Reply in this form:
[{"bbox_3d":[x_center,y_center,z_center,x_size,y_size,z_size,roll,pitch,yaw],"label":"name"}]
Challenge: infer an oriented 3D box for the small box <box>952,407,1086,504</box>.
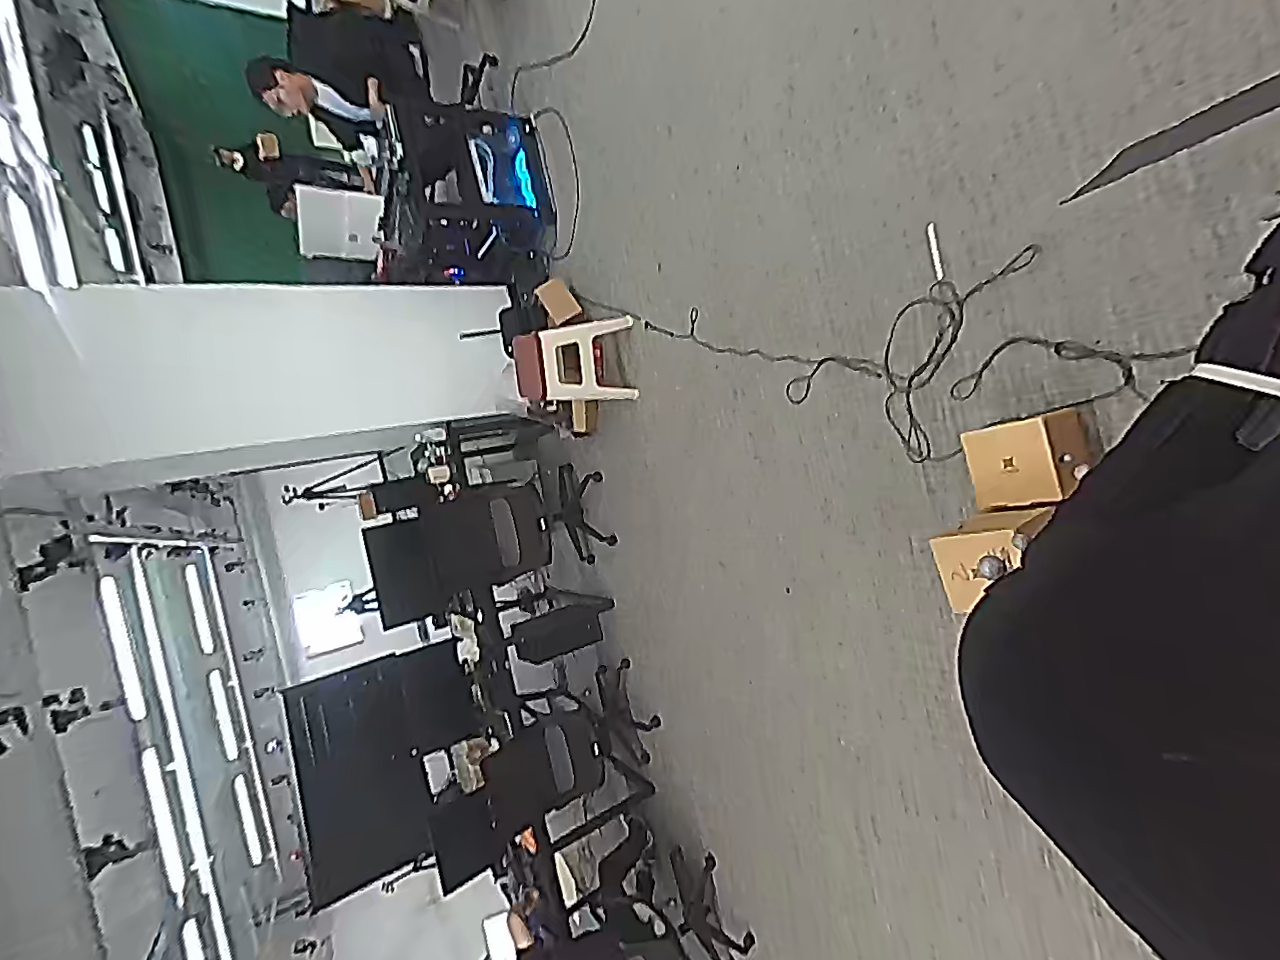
[{"bbox_3d":[0.796,-0.053,1.140,0.179,0.176,0.168,24,108,42],"label":"small box"}]
